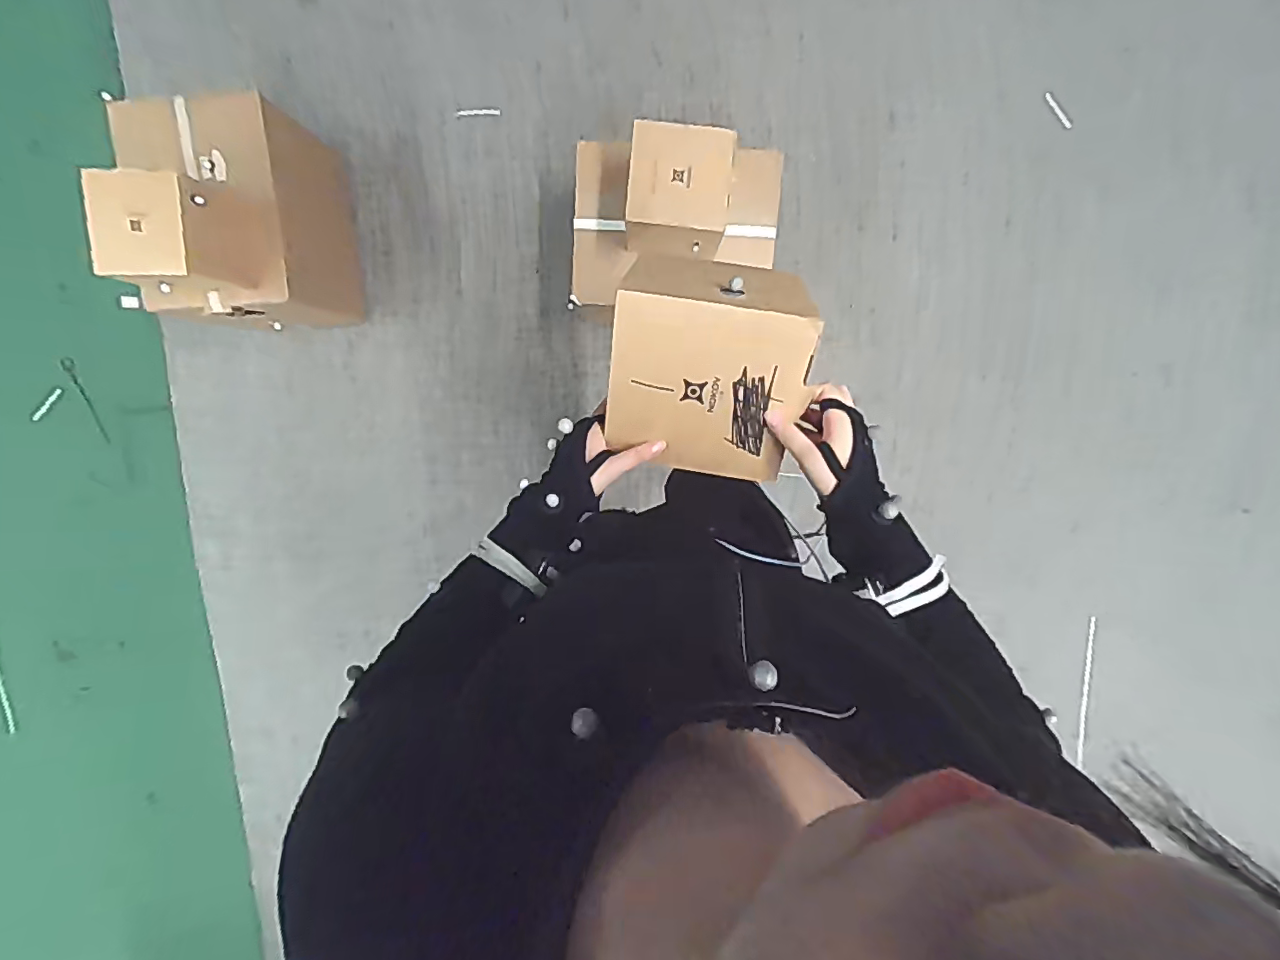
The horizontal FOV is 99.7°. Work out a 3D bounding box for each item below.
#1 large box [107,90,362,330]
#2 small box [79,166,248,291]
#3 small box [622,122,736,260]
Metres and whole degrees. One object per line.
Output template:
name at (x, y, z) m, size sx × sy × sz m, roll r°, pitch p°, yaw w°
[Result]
large box at (-0.884, -0.577, 1.234) m, size 0.320 × 0.320 × 0.408 m, roll -3°, pitch 98°, yaw 1°
small box at (-0.869, -0.455, 1.005) m, size 0.168 × 0.176 × 0.179 m, roll 1°, pitch 97°, yaw 0°
small box at (0.065, -0.515, 0.988) m, size 0.179 × 0.176 × 0.168 m, roll 7°, pitch 96°, yaw 0°
